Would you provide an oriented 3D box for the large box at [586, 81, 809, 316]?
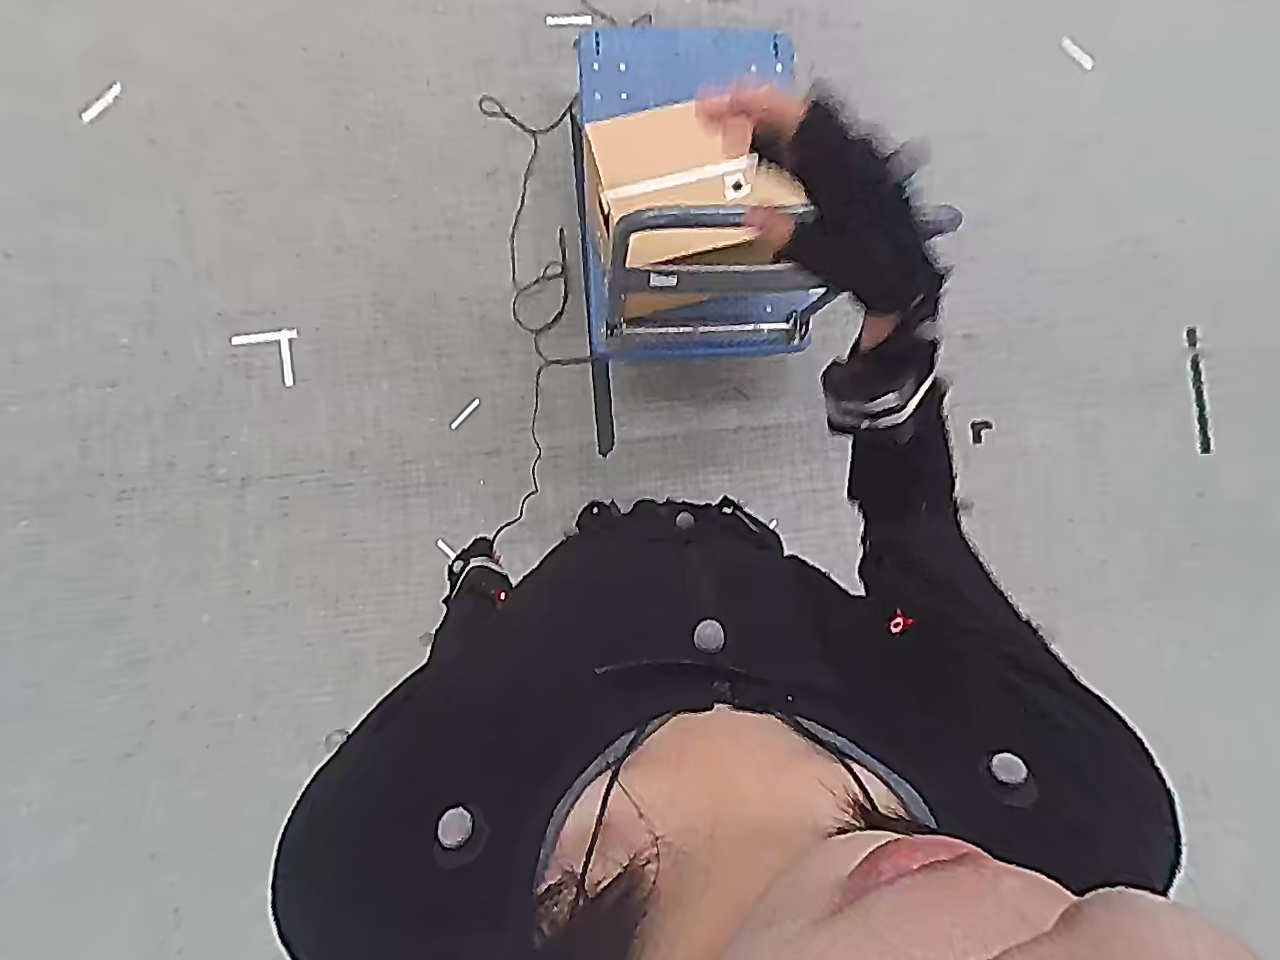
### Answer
[{"bbox_3d":[0.109,-0.626,1.258,0.408,0.320,0.320,-16,89,-6],"label":"large box"}]
